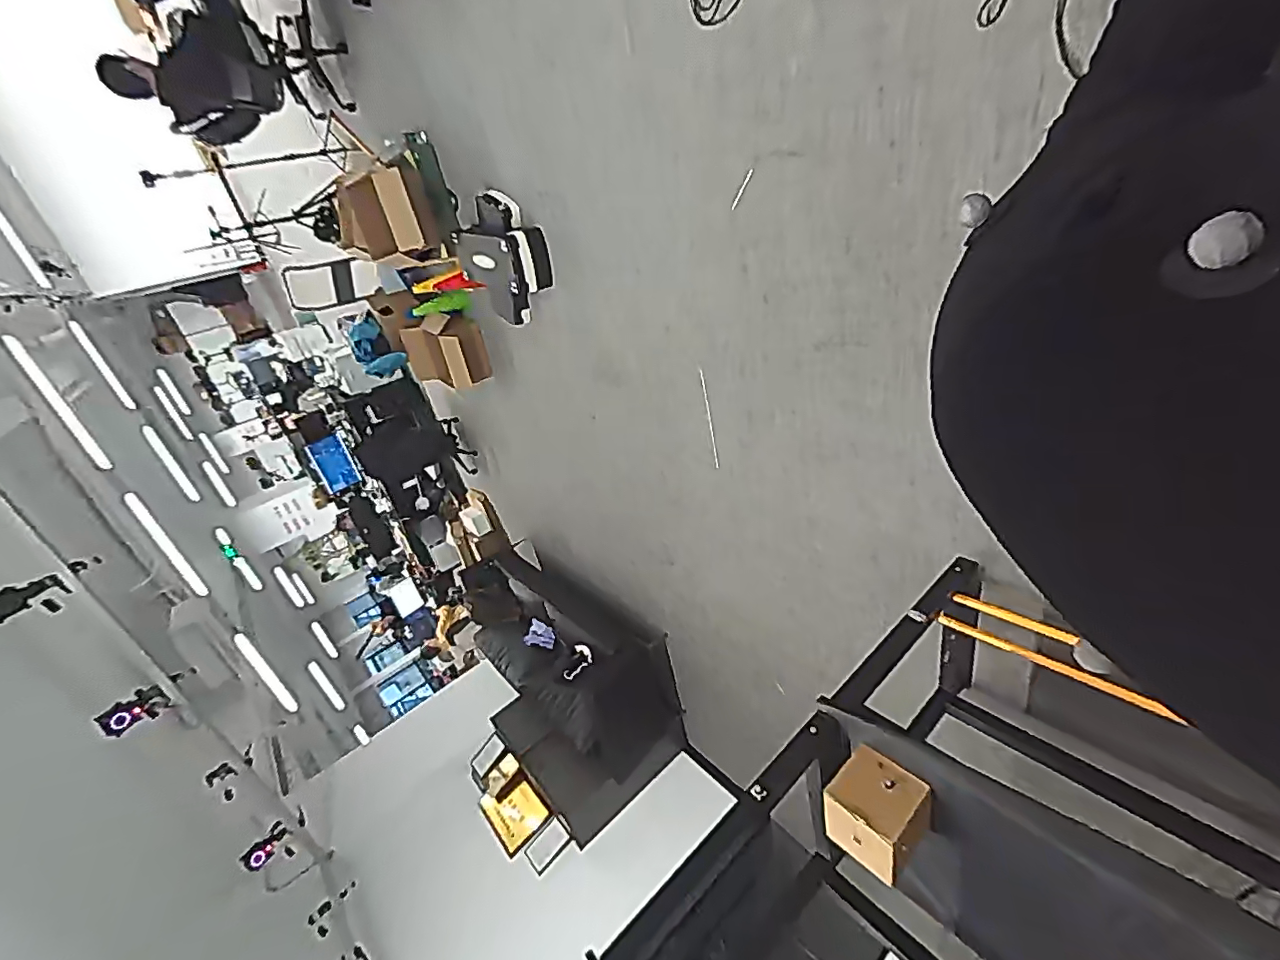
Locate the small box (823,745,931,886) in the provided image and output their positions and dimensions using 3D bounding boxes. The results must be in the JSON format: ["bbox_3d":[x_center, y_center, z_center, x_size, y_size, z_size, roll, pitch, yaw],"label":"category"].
[{"bbox_3d":[0.542,0.756,1.233,0.168,0.176,0.179,21,133,48],"label":"small box"}]
